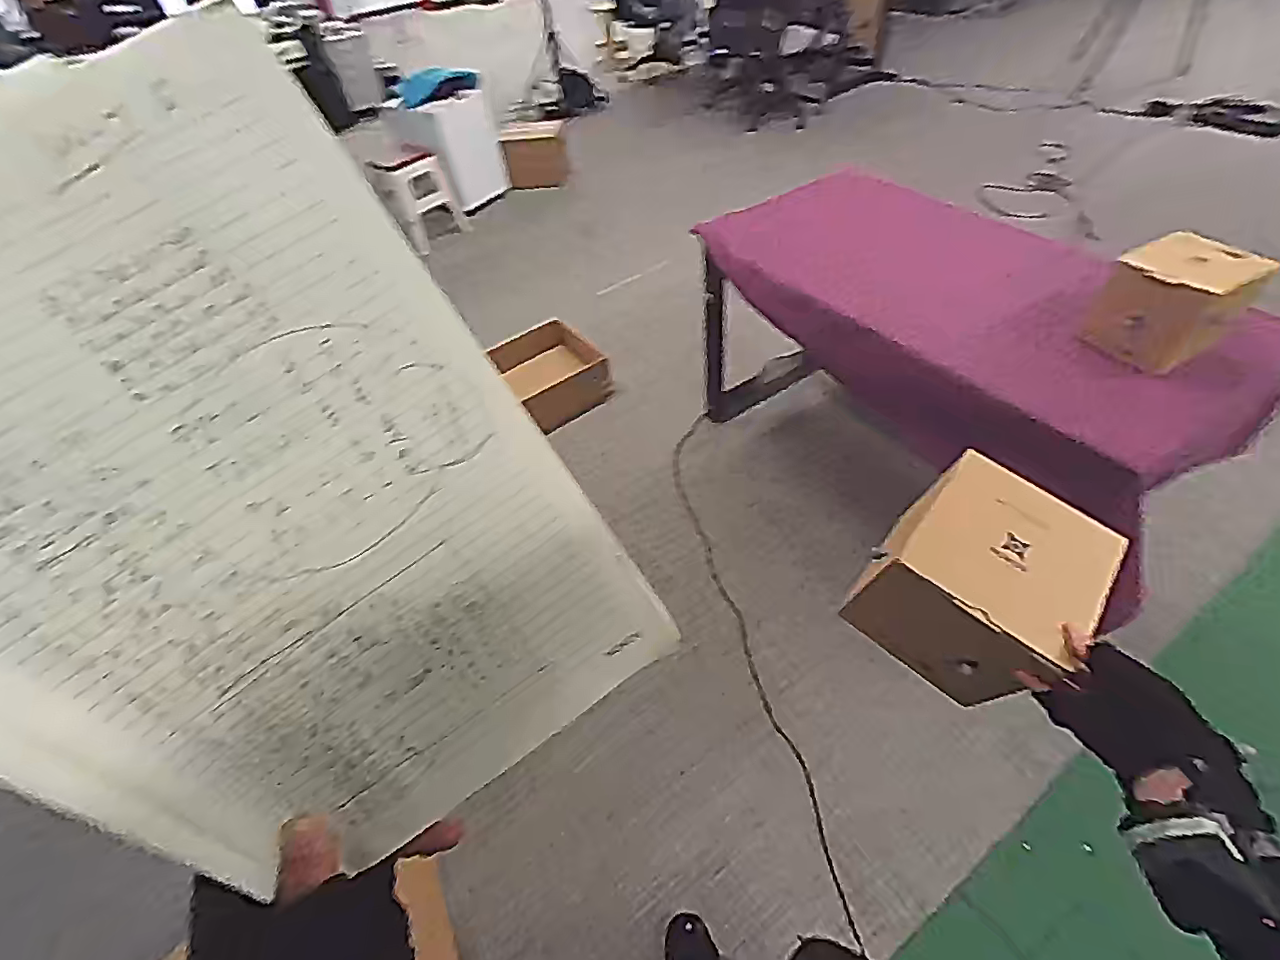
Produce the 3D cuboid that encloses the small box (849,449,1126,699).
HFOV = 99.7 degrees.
[{"bbox_3d":[0.354,0.108,0.585,0.168,0.176,0.179,38,65,19],"label":"small box"}]

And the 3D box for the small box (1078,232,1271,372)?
[{"bbox_3d":[0.978,-0.330,1.014,0.179,0.176,0.168,-25,50,-13],"label":"small box"}]
